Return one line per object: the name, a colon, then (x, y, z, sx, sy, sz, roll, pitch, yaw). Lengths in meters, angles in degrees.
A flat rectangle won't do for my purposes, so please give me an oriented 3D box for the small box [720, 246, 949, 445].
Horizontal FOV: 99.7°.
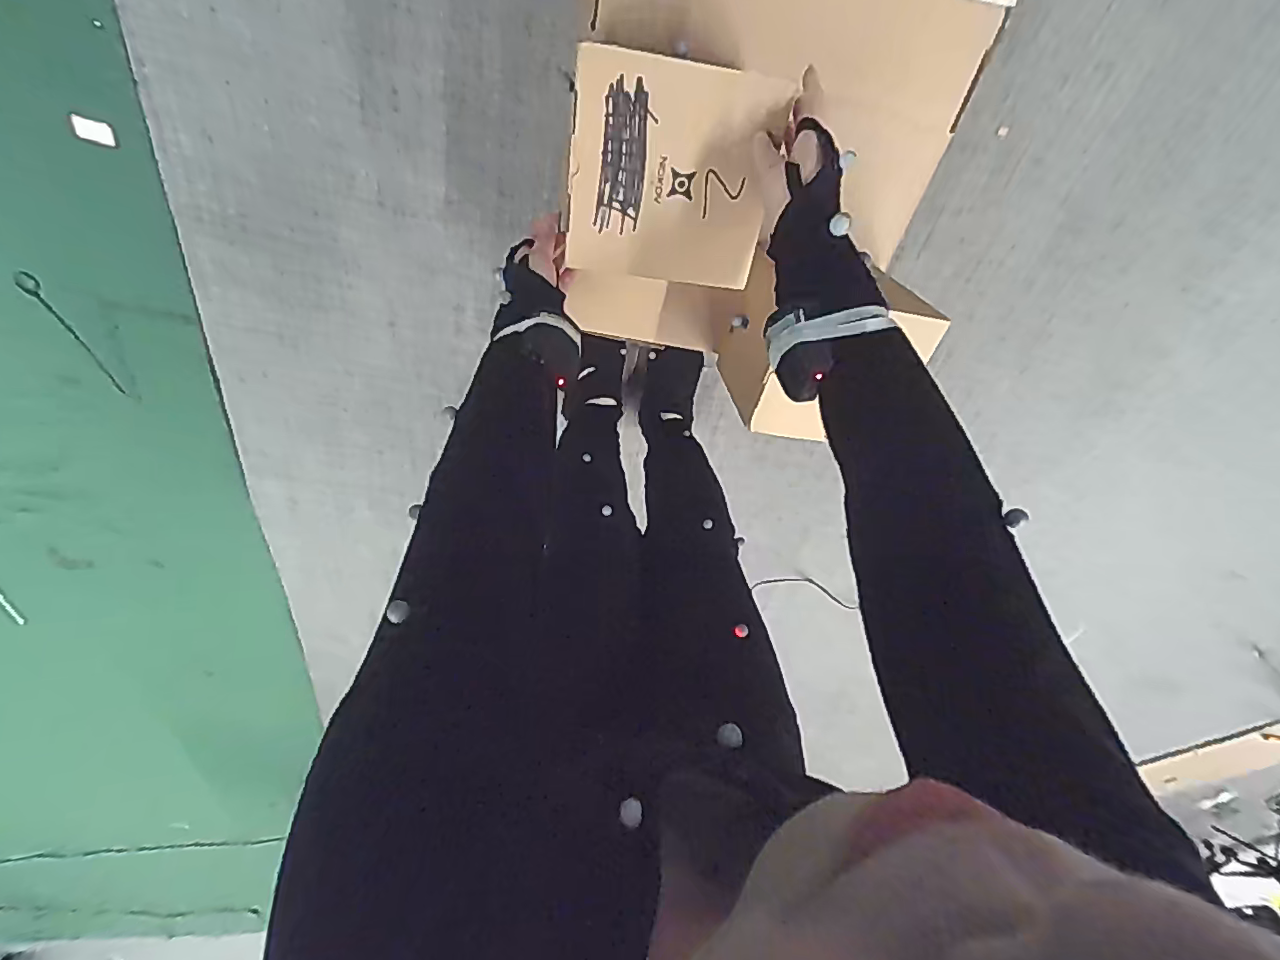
small box: (0.215, -0.165, 0.653, 0.179, 0.176, 0.168, 7, 127, -12)
